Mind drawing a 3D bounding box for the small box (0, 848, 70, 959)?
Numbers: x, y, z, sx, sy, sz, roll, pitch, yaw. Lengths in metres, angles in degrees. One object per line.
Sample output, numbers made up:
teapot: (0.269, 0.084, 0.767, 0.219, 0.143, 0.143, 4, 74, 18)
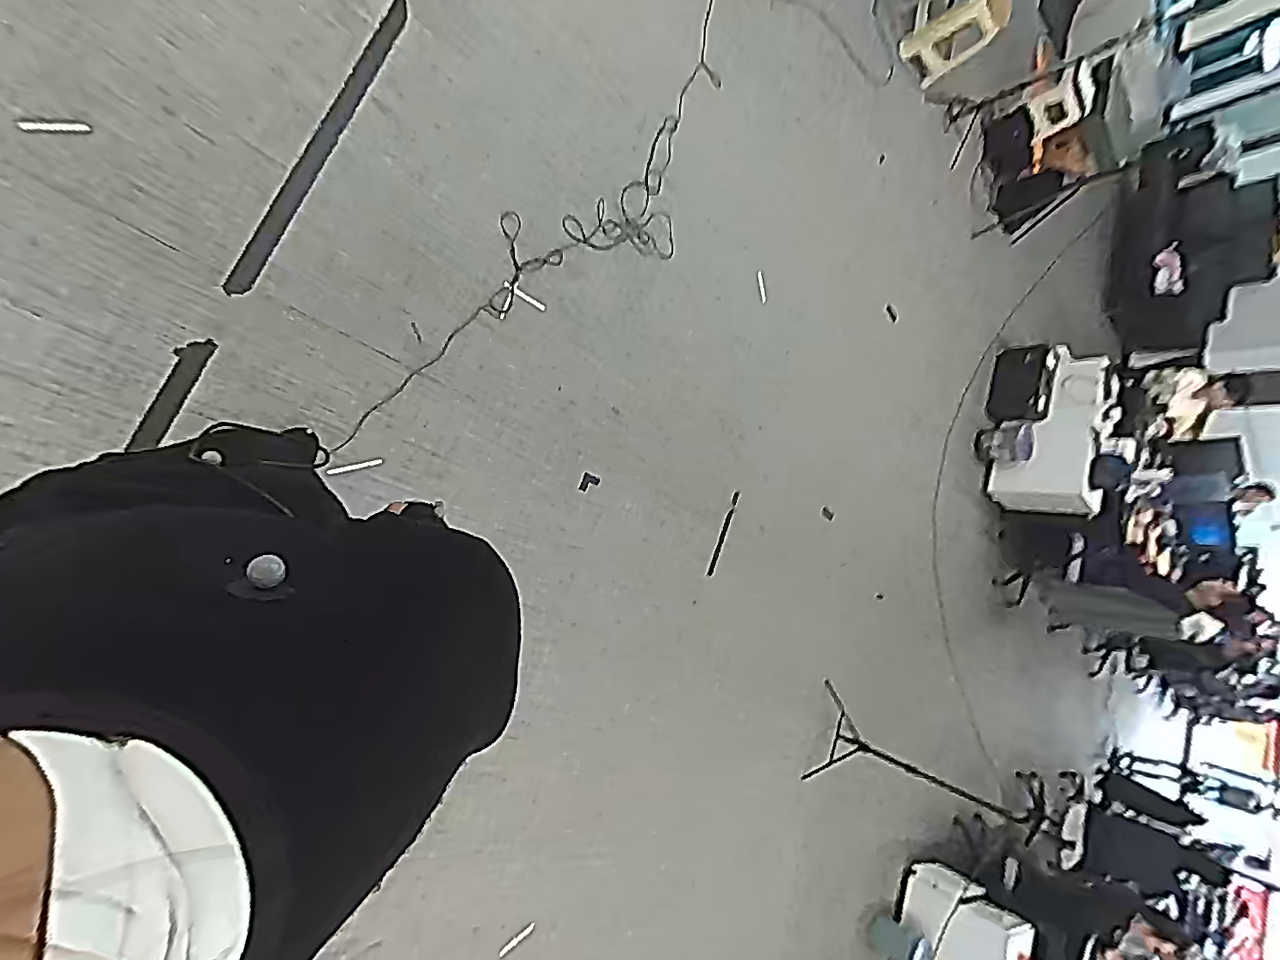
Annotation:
small box: (-1.248, 0.845, 1.033, 0.168, 0.176, 0.179, 26, 76, -36)
